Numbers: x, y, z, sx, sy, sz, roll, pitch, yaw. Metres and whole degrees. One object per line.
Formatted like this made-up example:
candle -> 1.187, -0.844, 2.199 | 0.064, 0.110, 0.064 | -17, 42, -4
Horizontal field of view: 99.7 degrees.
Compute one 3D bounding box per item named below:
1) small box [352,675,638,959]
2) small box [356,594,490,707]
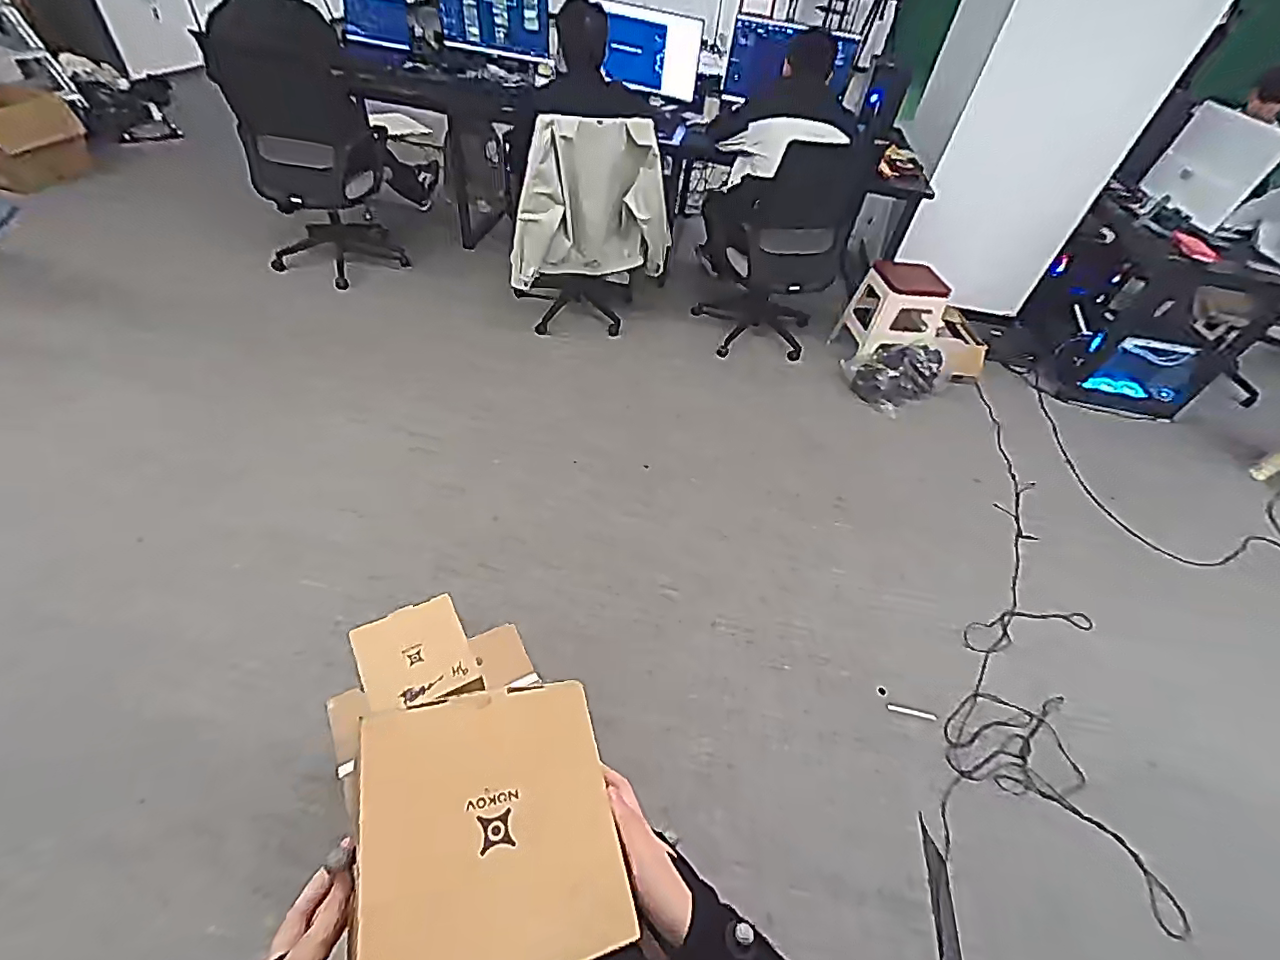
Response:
small box -> -0.124, 0.278, 0.414 | 0.168, 0.176, 0.179 | 1, 47, -28
small box -> -0.365, 0.335, 0.930 | 0.168, 0.176, 0.179 | -20, 52, -25
